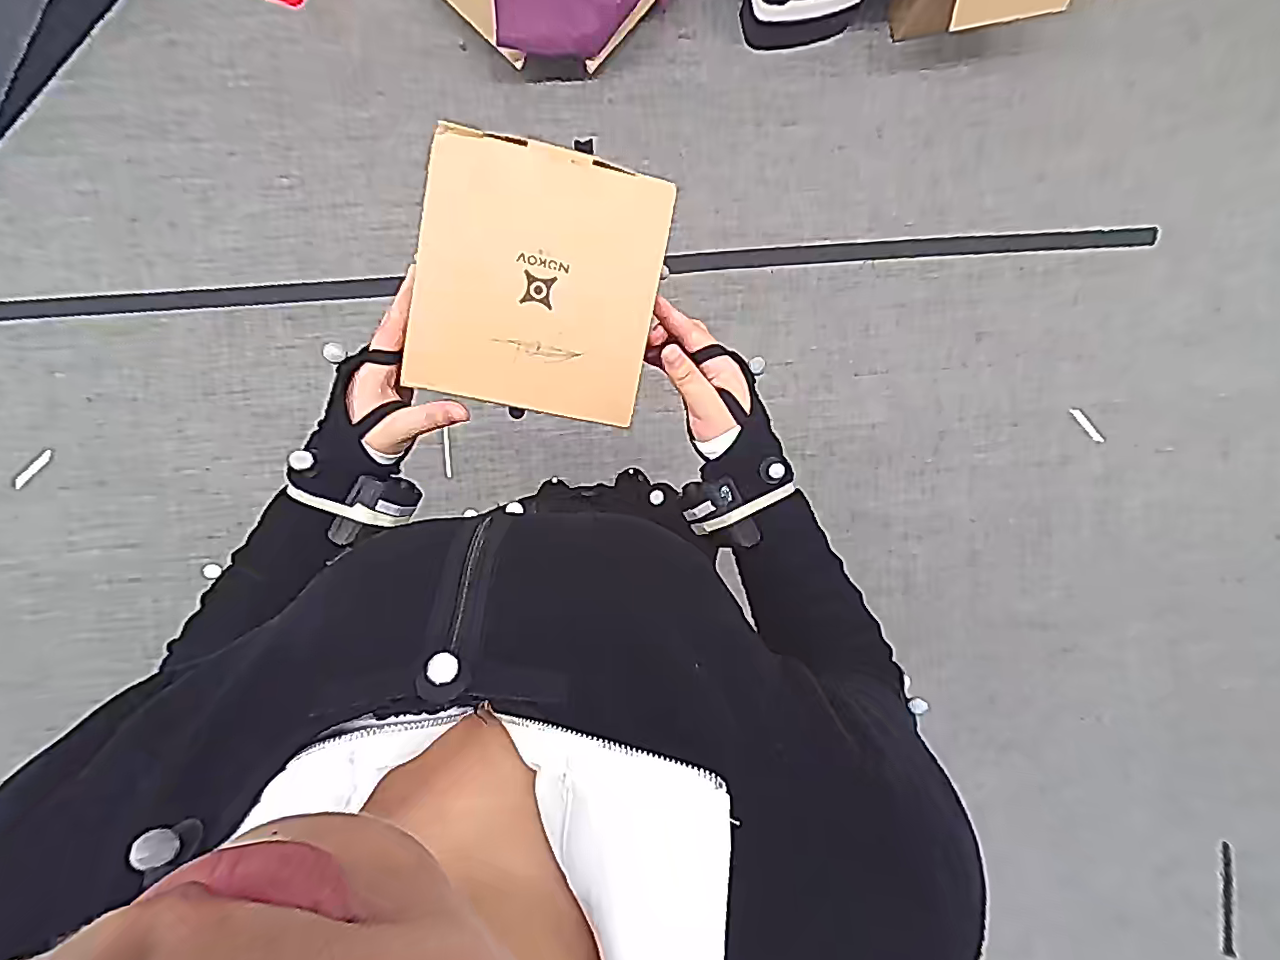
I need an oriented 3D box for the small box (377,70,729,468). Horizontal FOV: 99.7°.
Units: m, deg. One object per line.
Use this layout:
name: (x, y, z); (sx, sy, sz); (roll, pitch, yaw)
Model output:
small box: (-0.056, -0.119, 0.368); (0.168, 0.176, 0.179); (10, 100, -8)
